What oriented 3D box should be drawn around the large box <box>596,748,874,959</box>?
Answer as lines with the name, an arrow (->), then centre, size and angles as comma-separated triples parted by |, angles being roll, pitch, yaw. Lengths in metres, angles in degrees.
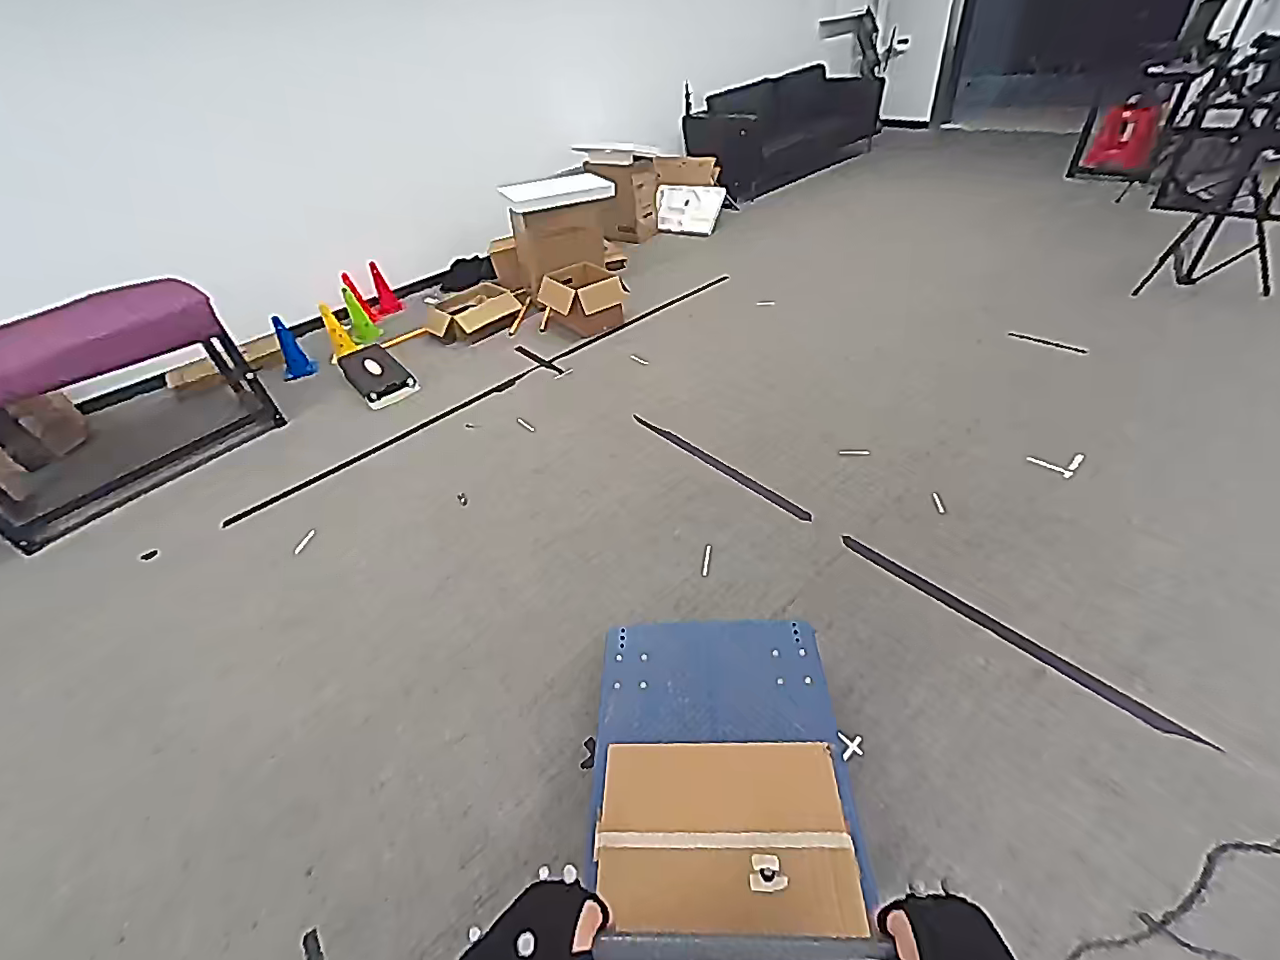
large box -> 0.147, 0.707, 0.971 | 0.408, 0.320, 0.320 | -3, 41, 5
